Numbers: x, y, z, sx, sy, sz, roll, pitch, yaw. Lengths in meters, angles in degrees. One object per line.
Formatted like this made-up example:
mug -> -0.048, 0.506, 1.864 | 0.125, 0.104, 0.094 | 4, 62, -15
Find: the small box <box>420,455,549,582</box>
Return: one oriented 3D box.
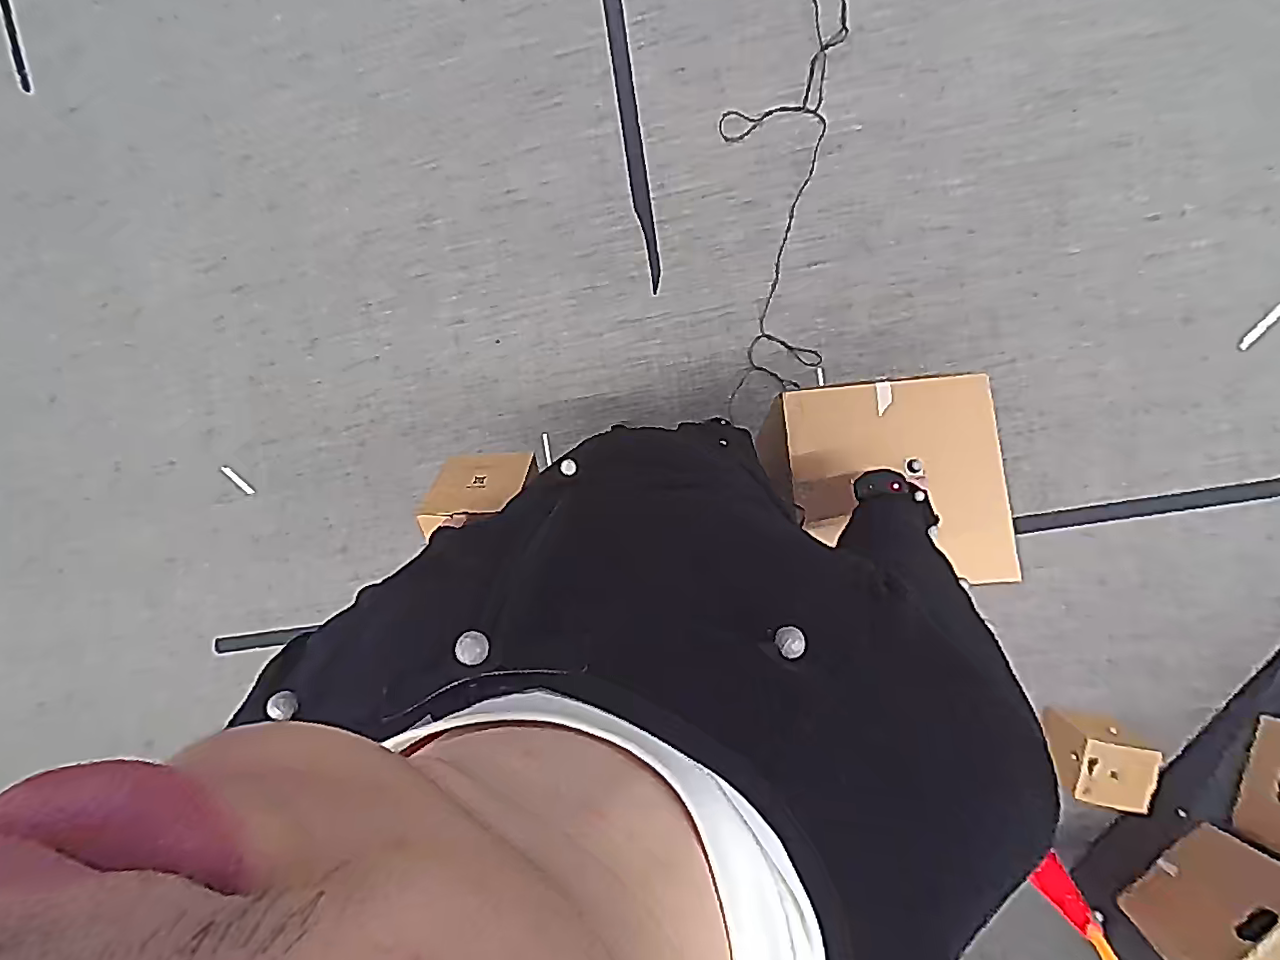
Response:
small box -> -0.273, 0.074, 0.996 | 0.168, 0.179, 0.176 | -2, 128, 4
